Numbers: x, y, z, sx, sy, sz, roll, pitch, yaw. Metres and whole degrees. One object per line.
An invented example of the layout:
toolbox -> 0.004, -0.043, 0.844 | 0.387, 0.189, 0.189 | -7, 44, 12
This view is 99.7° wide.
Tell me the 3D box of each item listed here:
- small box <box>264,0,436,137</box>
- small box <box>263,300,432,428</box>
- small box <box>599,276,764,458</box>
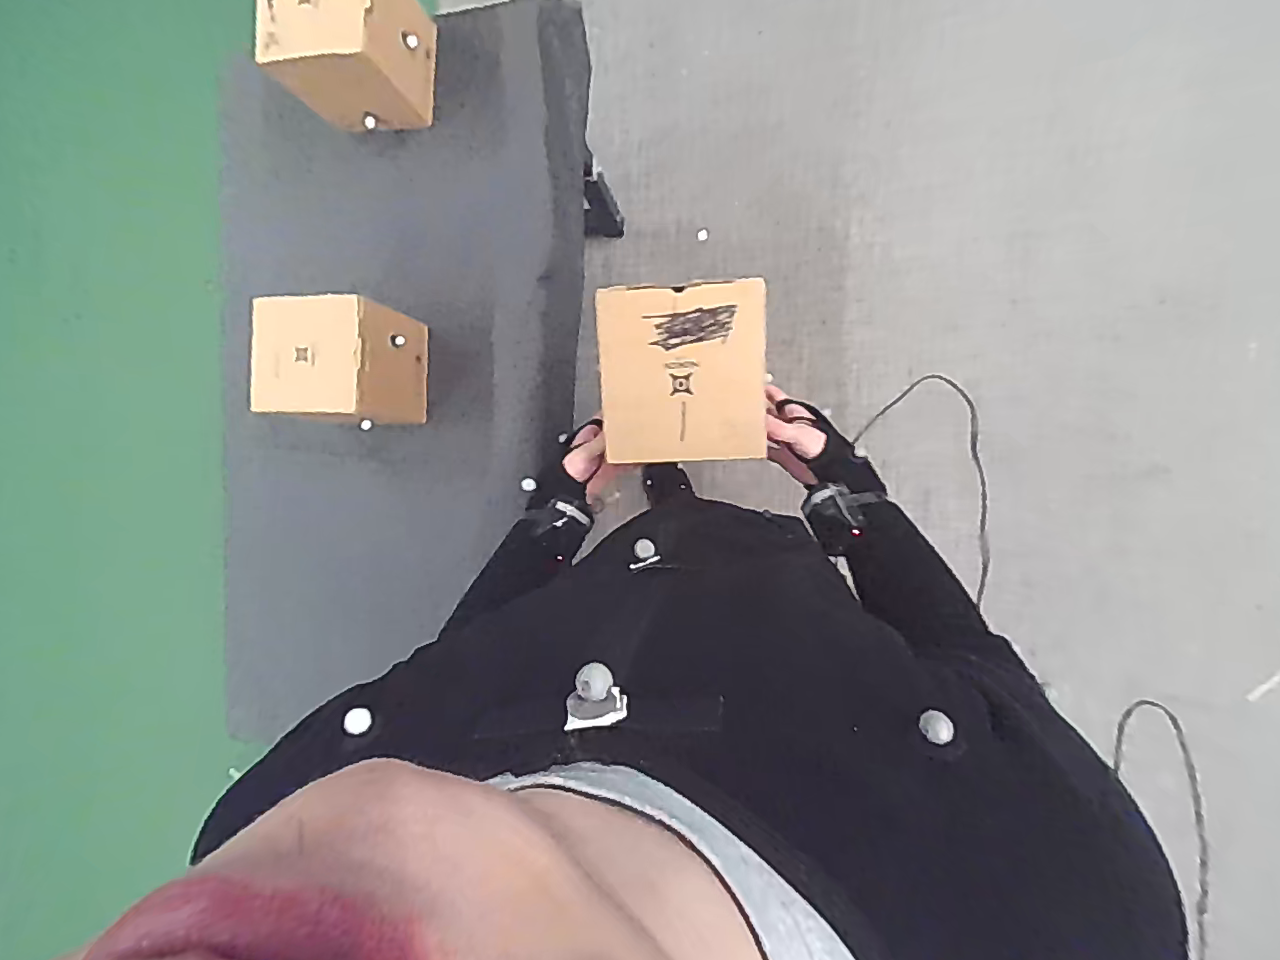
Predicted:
small box -> -0.436, -0.663, 0.836 | 0.179, 0.176, 0.168 | 3, 92, 10
small box -> -0.447, -0.174, 0.849 | 0.179, 0.176, 0.168 | 1, 90, 12
small box -> 0.050, -0.126, 0.625 | 0.168, 0.176, 0.179 | -2, 102, 7
